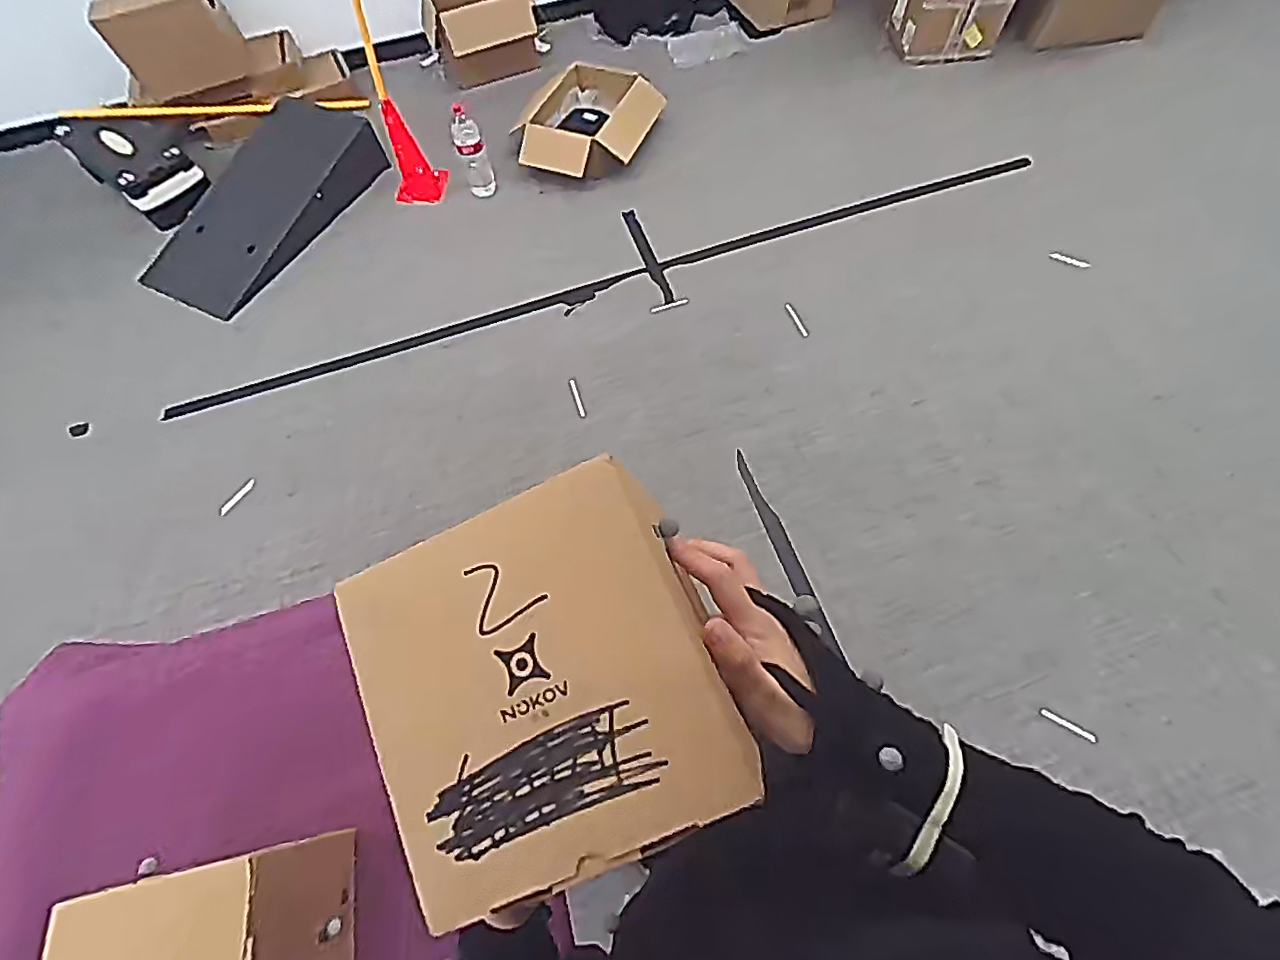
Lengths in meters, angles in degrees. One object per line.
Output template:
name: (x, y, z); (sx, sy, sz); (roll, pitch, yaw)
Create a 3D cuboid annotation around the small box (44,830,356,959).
small box: (-0.399, 0.451, 0.506); (0.179, 0.176, 0.168); (-13, 64, -3)
